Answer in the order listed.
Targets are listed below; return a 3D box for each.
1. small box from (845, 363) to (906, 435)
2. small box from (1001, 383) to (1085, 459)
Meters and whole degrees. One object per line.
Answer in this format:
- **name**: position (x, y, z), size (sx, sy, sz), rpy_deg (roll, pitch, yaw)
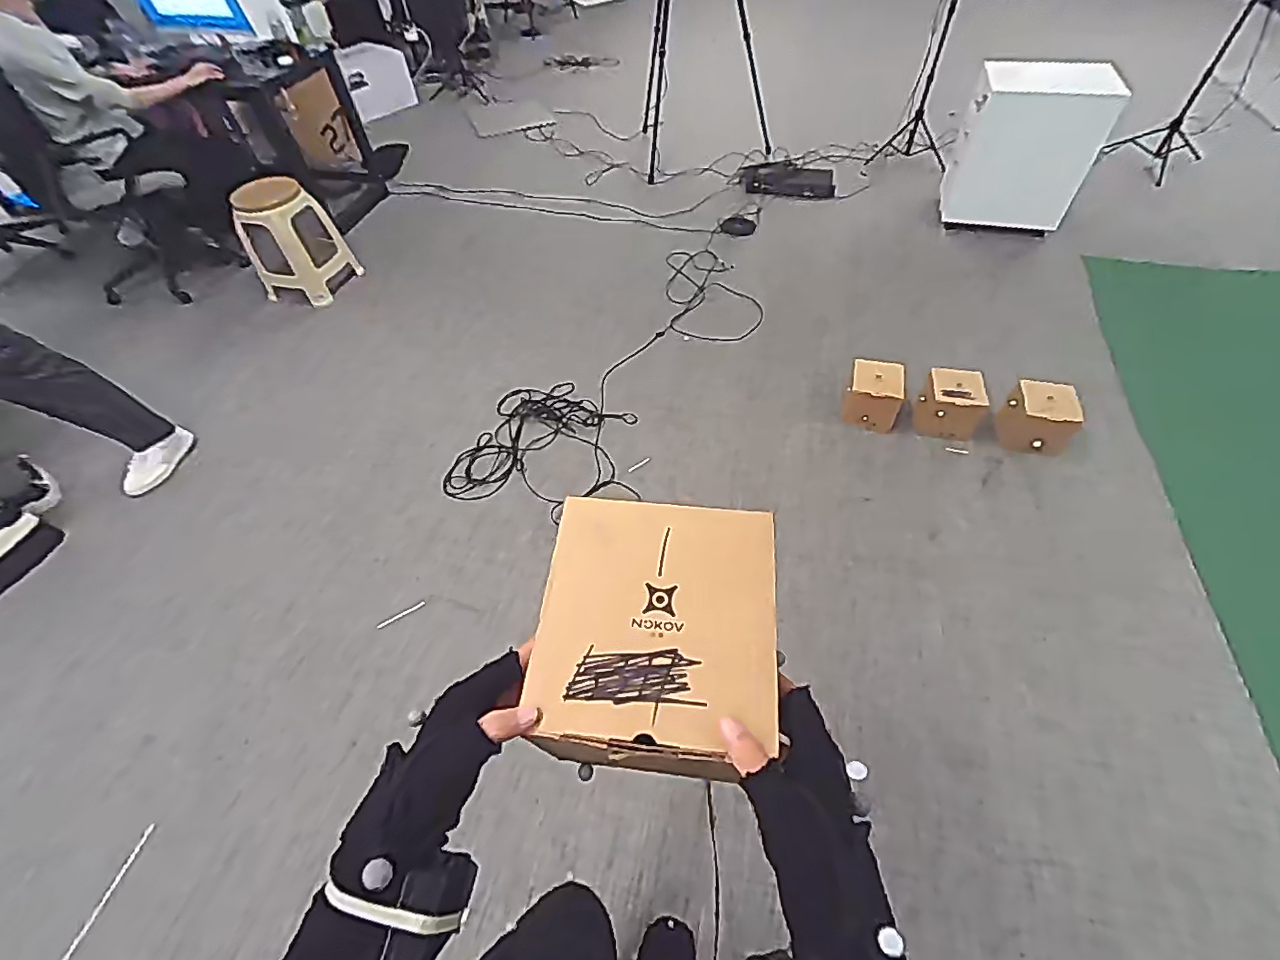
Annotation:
- **small box**: position (0.841, -0.290, 1.938), size (0.168, 0.176, 0.179), rpy_deg (10, 54, 13)
- **small box**: position (1.351, -0.197, 1.828), size (0.168, 0.176, 0.179), rpy_deg (11, 54, 13)
